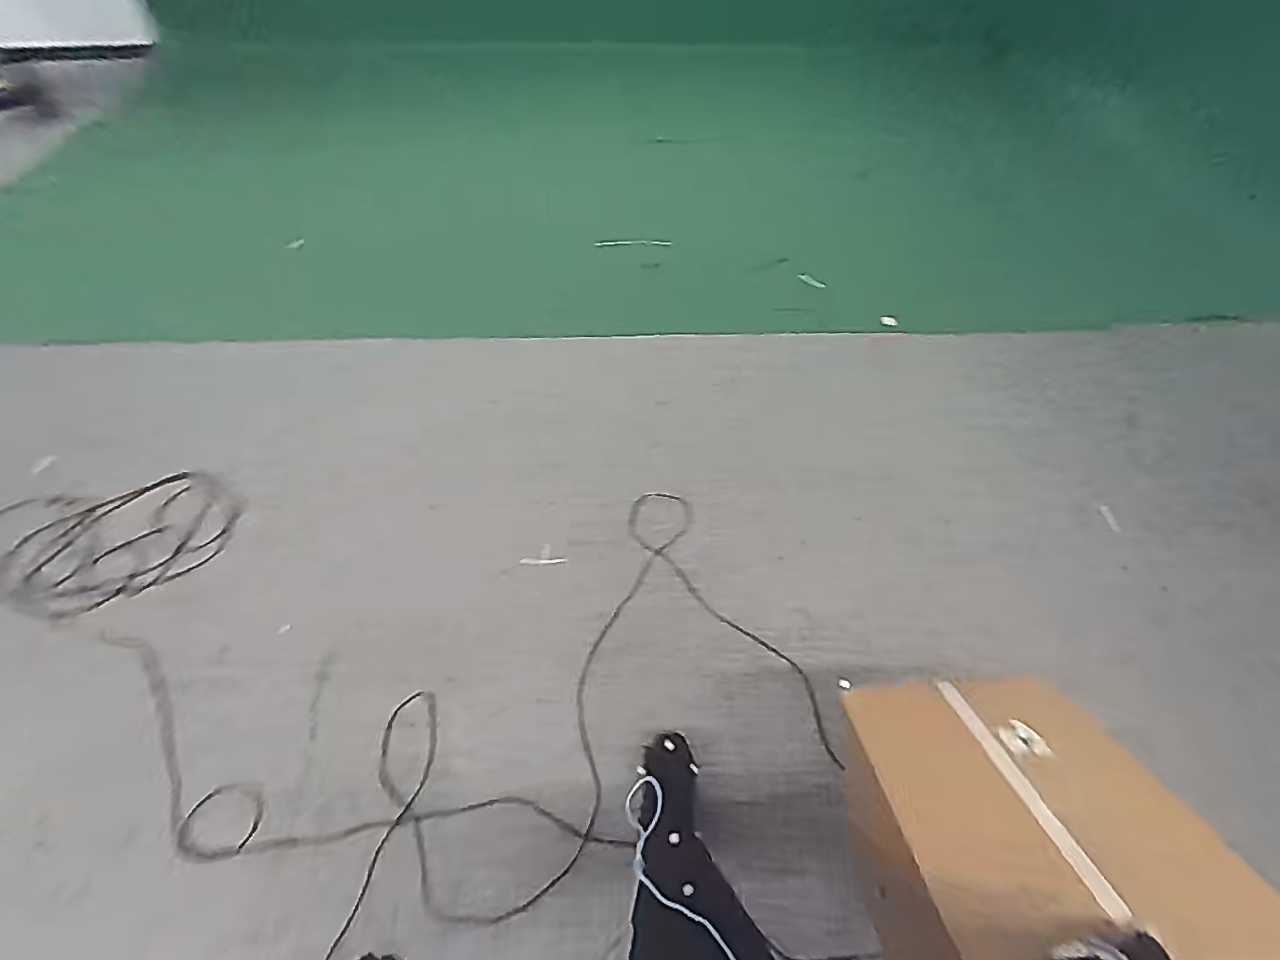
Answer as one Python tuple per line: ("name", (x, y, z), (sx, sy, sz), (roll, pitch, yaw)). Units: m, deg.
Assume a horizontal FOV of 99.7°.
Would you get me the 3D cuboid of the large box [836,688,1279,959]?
("large box", (0.479, 0.538, 0.713), (0.320, 0.320, 0.408), (-5, 13, 5))
